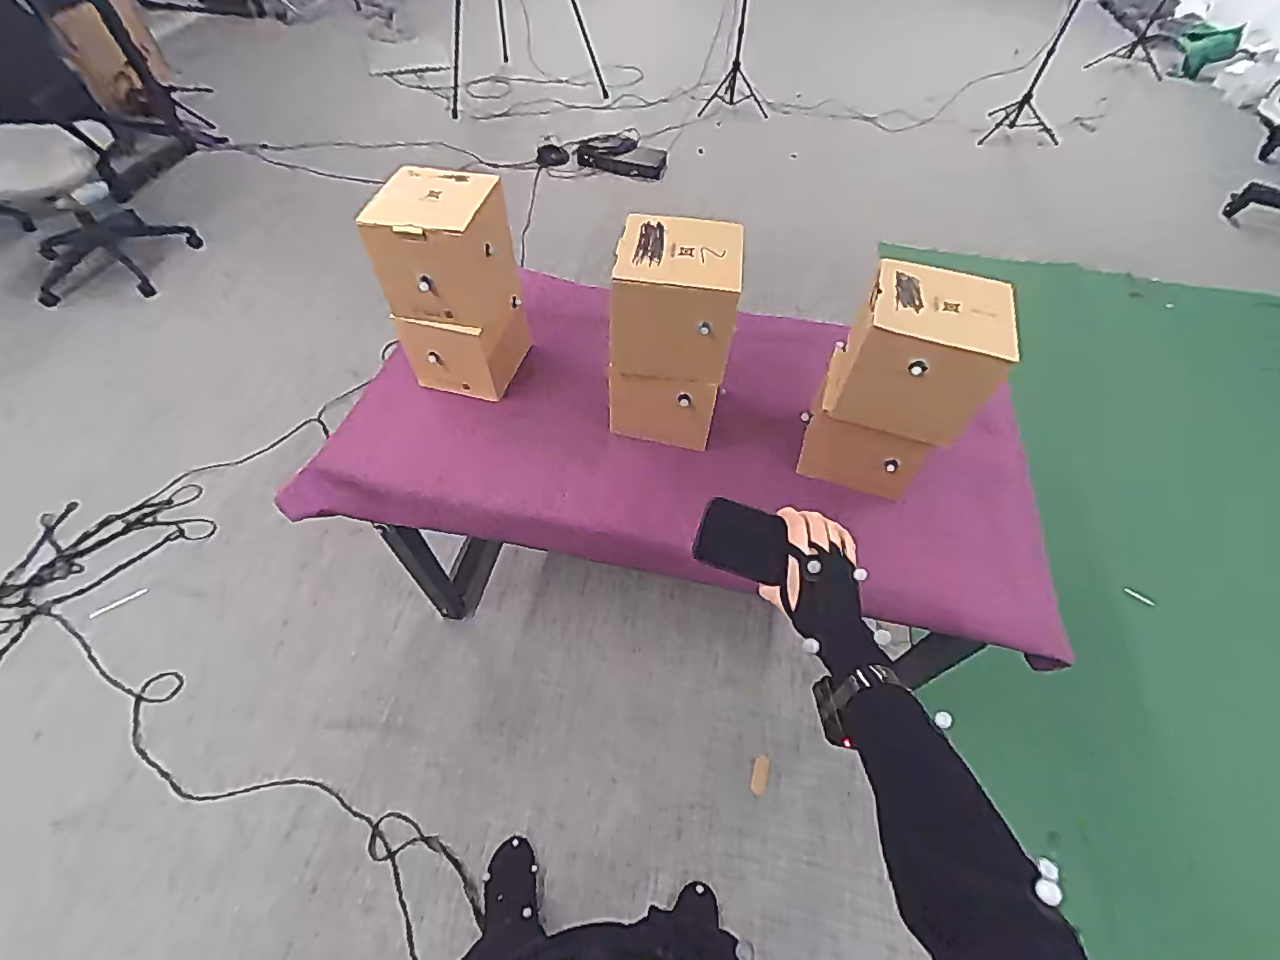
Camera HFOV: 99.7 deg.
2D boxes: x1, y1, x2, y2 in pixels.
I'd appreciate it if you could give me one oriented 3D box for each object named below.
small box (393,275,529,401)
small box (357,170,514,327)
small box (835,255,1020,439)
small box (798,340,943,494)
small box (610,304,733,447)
[{"bbox_3d":[-0.320,-0.272,1.013,0.168,0.176,0.179,12,55,8],"label":"small box"},{"bbox_3d":[-0.316,-0.375,0.884,0.168,0.176,0.179,8,55,4],"label":"small box"},{"bbox_3d":[0.388,-0.182,0.756,0.179,0.176,0.168,17,55,10],"label":"small box"},{"bbox_3d":[0.382,-0.099,0.899,0.179,0.176,0.168,16,56,12],"label":"small box"},{"bbox_3d":[0.054,-0.179,0.949,0.179,0.176,0.168,11,55,8],"label":"small box"}]
